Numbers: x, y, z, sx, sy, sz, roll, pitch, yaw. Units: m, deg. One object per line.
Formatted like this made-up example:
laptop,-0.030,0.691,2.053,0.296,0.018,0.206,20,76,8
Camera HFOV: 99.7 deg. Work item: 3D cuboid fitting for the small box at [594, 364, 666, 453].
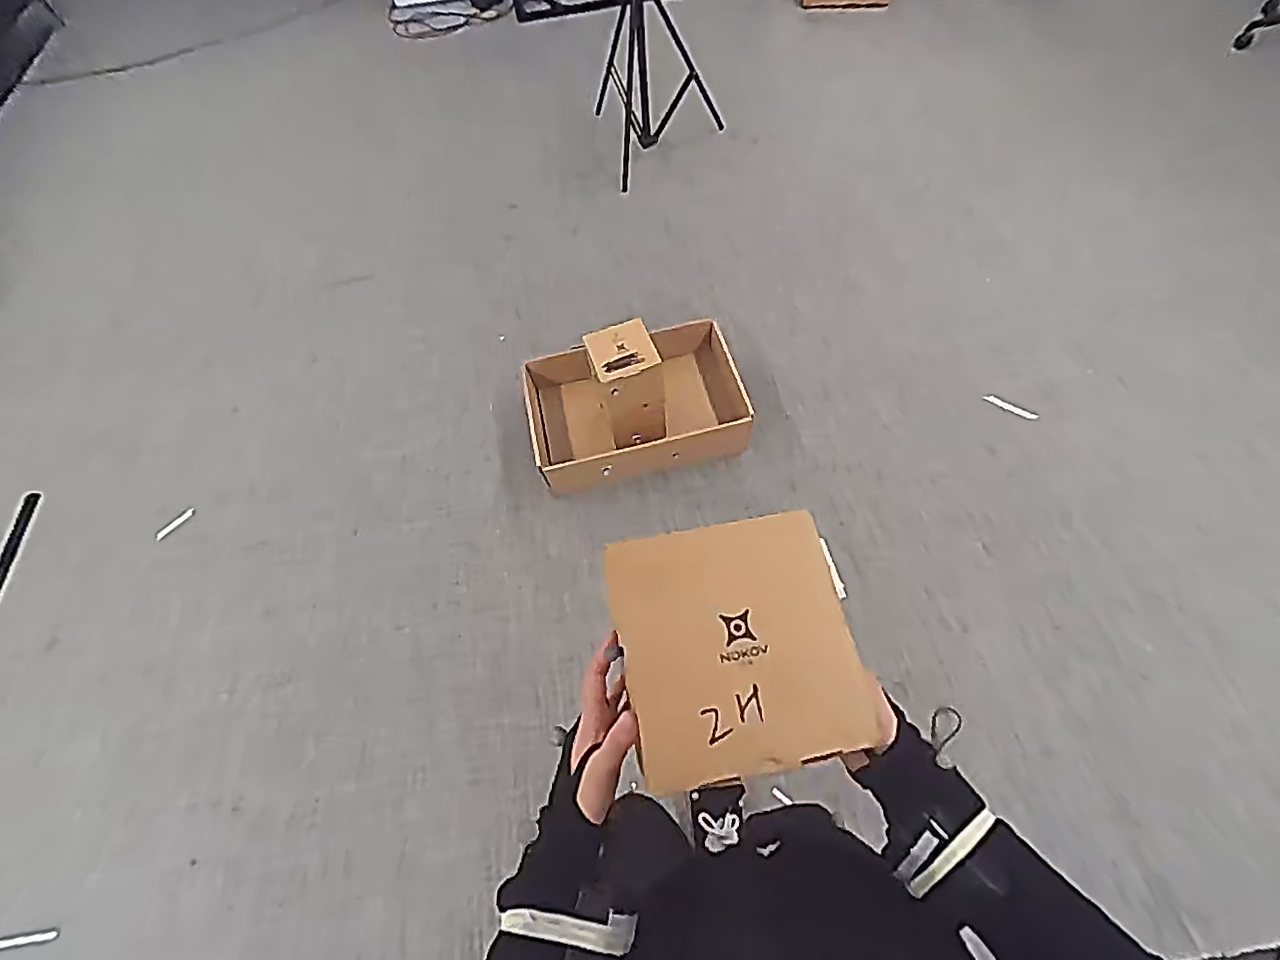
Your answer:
small box,-0.028,-0.209,1.616,0.168,0.176,0.179,-19,63,-4

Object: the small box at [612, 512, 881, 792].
small box,0.068,0.146,0.469,0.168,0.176,0.179,-9,69,-7
